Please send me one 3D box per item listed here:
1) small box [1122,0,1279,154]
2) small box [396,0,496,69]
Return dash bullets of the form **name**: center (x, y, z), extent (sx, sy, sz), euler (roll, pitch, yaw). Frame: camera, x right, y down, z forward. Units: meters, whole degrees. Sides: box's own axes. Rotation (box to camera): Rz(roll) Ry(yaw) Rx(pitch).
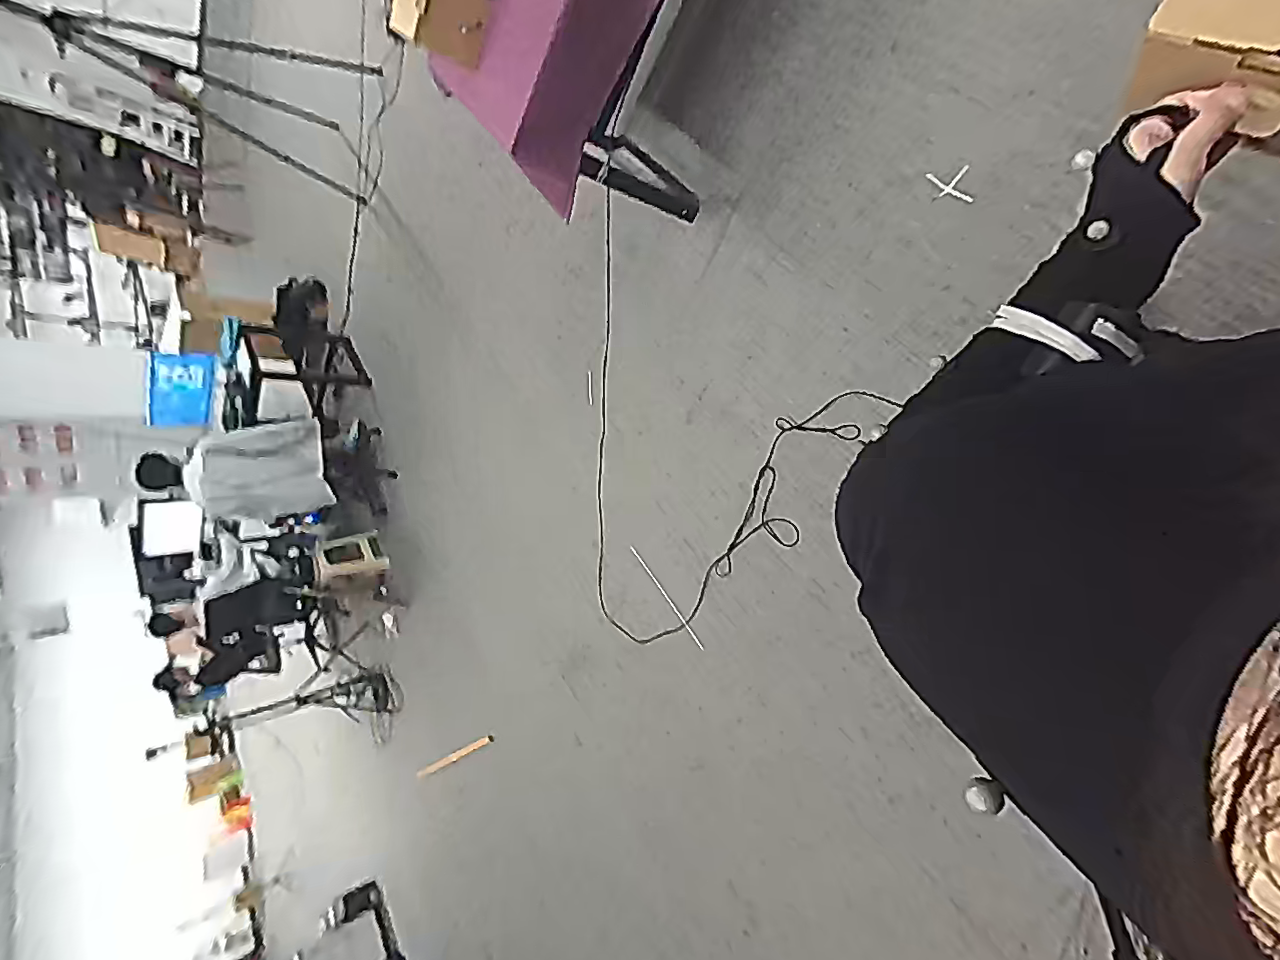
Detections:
- **small box**: center (0.482, -0.350, 0.371), extent (0.168, 0.176, 0.179), euler (38, 121, 25)
- **small box**: center (-0.500, -1.207, 1.397), extent (0.179, 0.176, 0.168), euler (49, 124, 29)
